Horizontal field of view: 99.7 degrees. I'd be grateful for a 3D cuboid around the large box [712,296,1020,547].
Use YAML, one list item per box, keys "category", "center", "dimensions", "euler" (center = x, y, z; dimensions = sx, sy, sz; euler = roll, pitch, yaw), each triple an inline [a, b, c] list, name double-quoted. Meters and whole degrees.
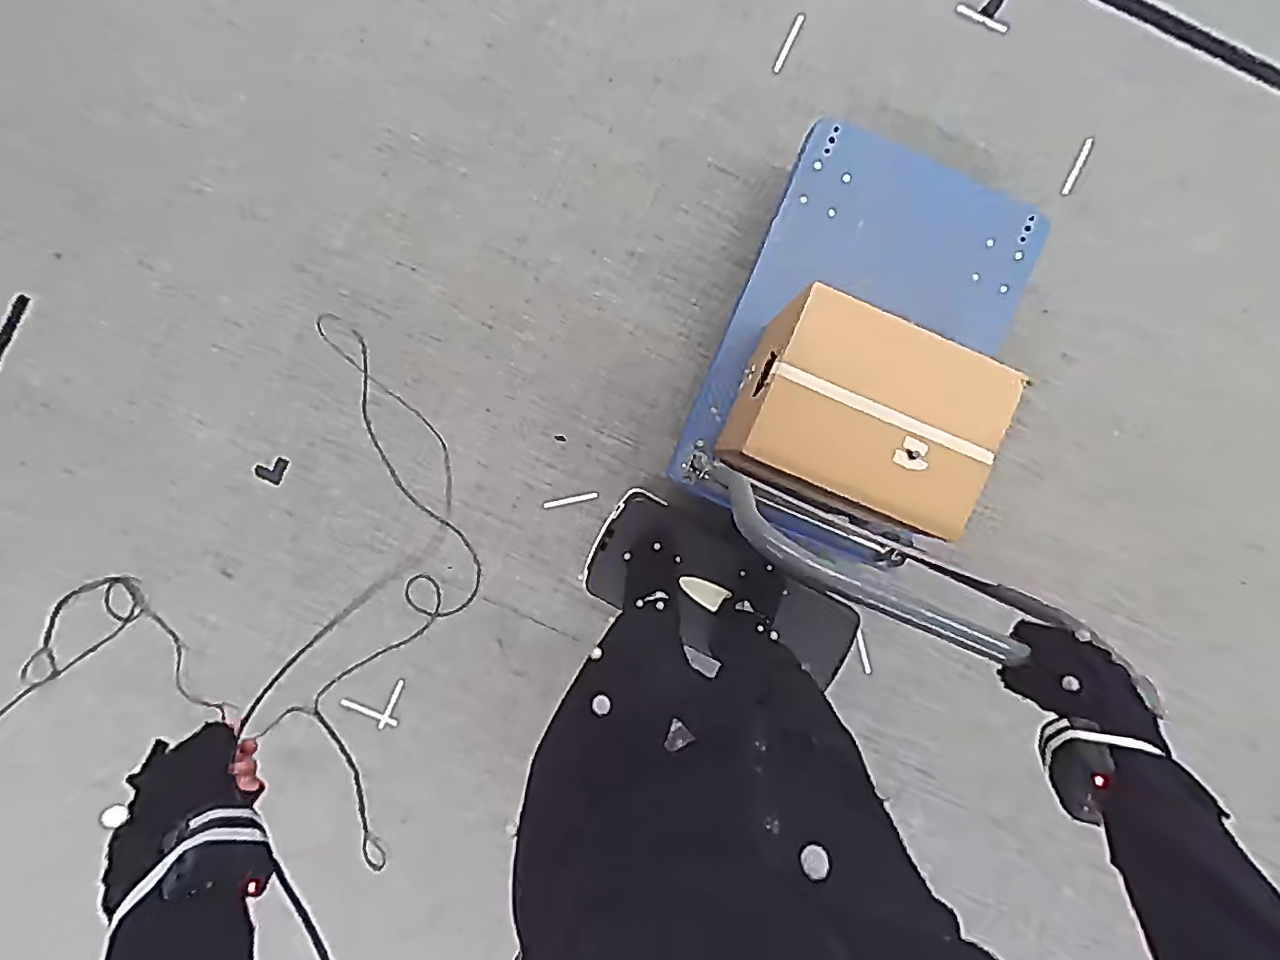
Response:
- category: "large box"
  center: [0.399, -0.101, 1.055]
  dimensions: [0.408, 0.320, 0.320]
  euler: [22, 92, -3]
